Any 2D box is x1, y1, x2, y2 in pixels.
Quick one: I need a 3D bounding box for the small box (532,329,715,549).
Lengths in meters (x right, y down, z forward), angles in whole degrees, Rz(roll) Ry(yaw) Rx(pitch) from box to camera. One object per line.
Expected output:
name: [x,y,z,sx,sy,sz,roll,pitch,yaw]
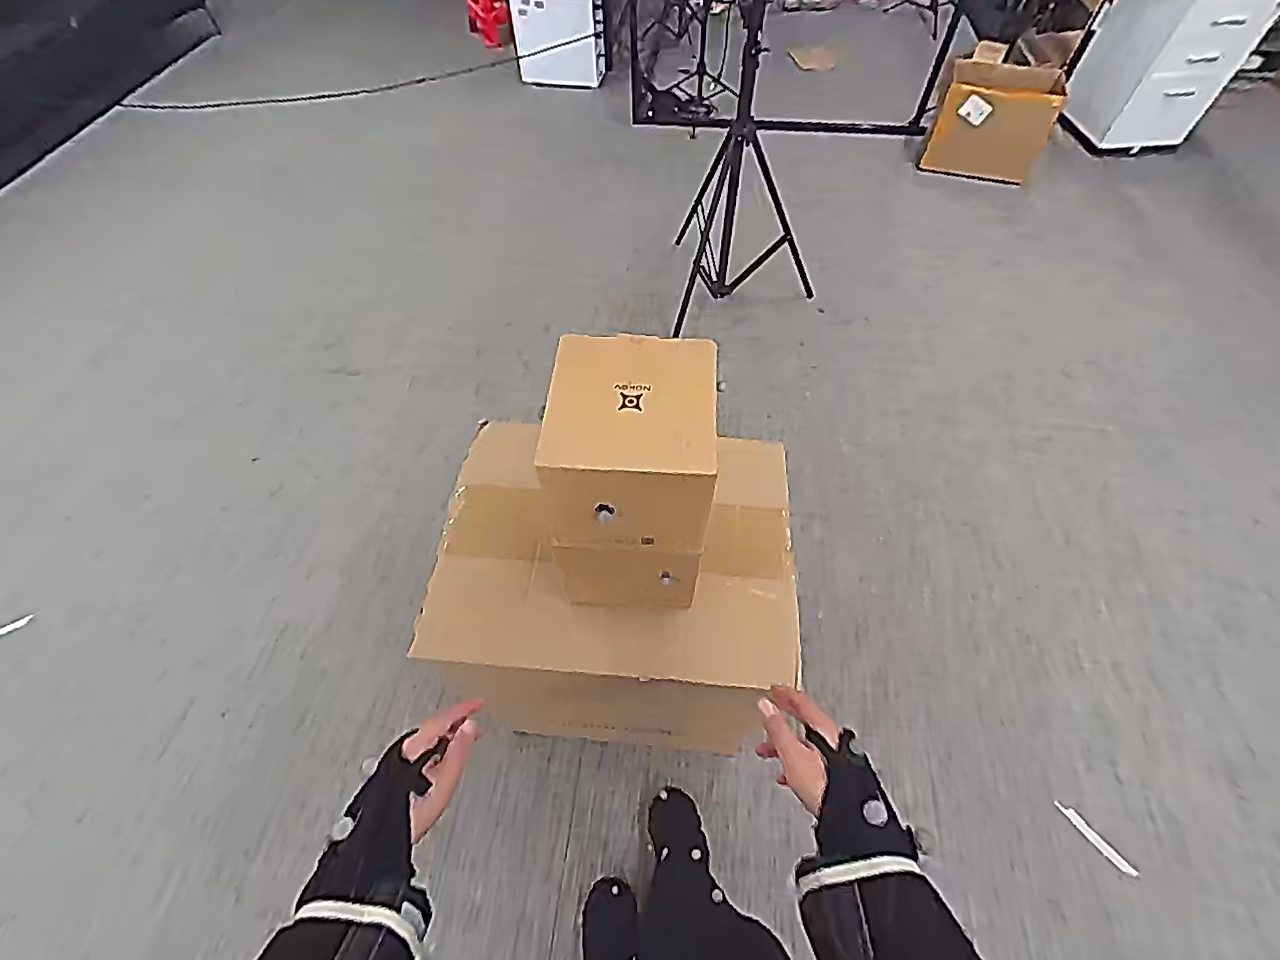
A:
small box: [-0.008,-0.038,0.582,0.168,0.176,0.179,2,56,2]
